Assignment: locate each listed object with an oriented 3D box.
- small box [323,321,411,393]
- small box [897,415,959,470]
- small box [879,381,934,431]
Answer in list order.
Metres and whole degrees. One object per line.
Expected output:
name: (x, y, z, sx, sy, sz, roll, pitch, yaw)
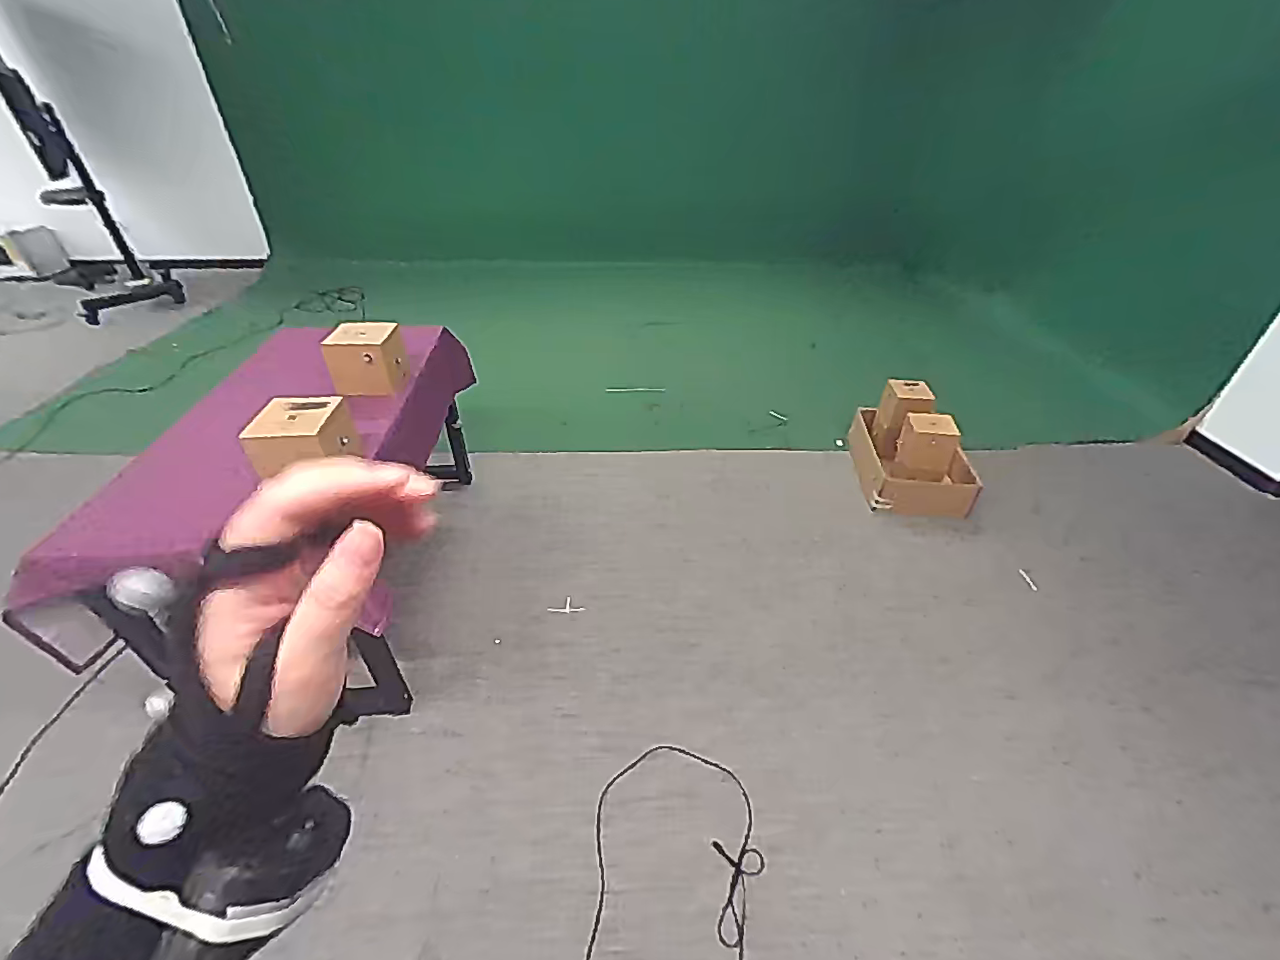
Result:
small box: (-0.831, -0.379, 1.670, 0.179, 0.176, 0.168, 0, 37, -2)
small box: (1.217, -0.157, 2.294, 0.179, 0.176, 0.168, 6, 37, 10)
small box: (1.240, -0.343, 2.530, 0.168, 0.176, 0.179, 5, 38, 4)
